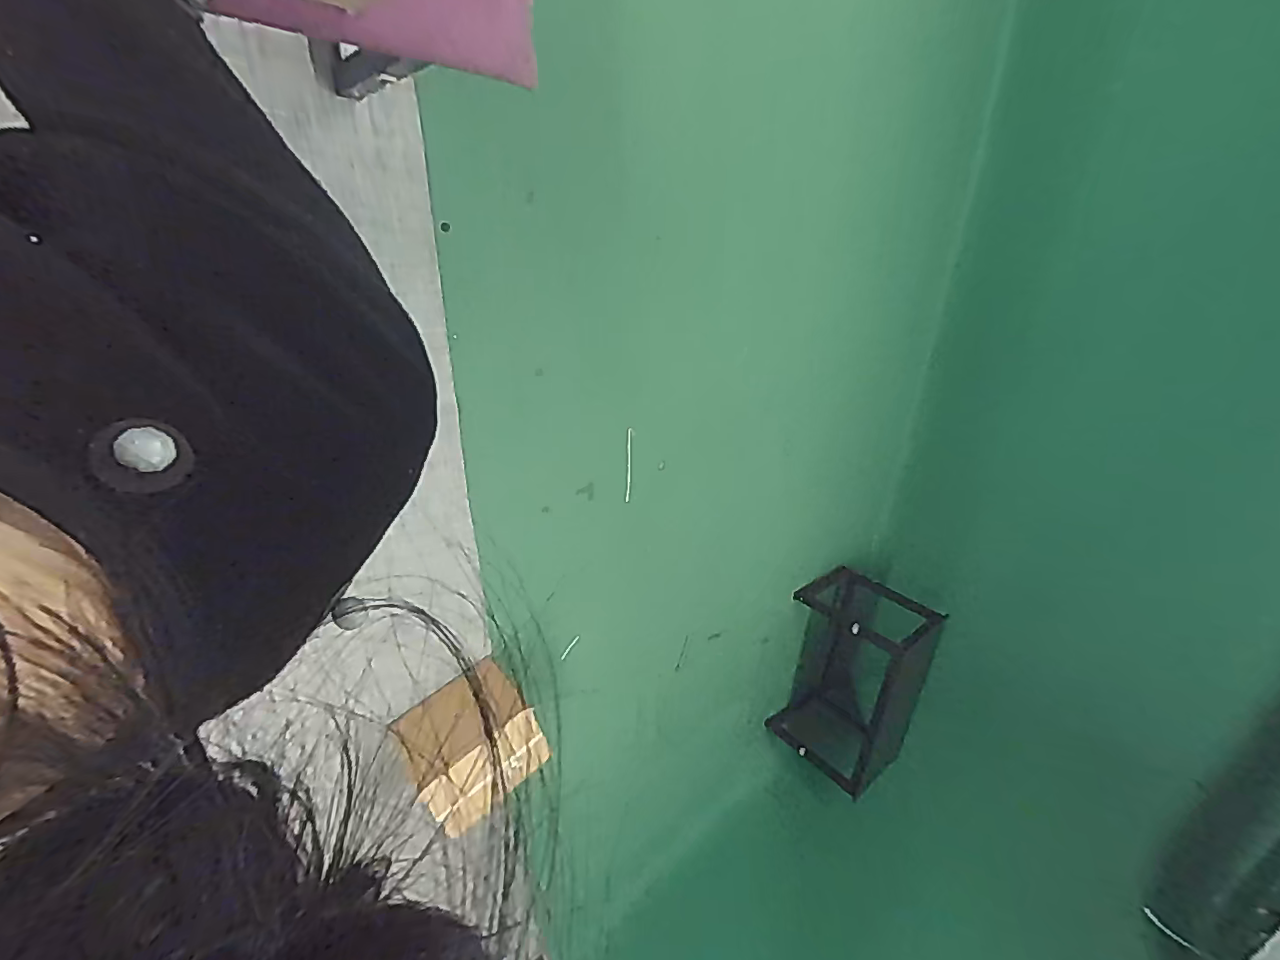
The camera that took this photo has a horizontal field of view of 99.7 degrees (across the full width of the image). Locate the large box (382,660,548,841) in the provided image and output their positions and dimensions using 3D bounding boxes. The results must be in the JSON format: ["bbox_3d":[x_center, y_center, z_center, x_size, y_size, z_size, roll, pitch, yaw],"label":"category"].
[{"bbox_3d":[-0.603,0.925,1.886,0.408,0.320,0.320,-33,130,-29],"label":"large box"}]
